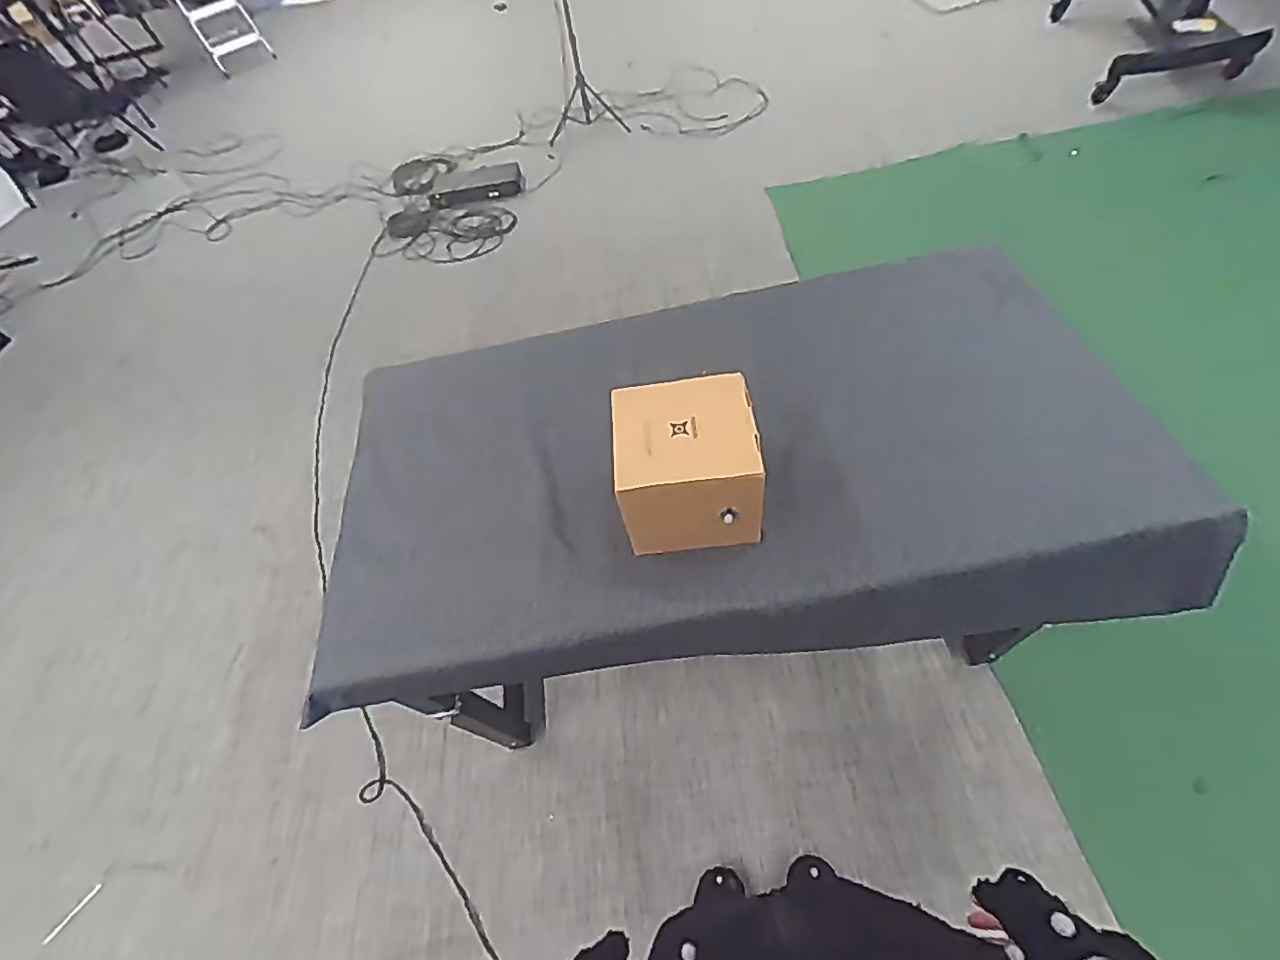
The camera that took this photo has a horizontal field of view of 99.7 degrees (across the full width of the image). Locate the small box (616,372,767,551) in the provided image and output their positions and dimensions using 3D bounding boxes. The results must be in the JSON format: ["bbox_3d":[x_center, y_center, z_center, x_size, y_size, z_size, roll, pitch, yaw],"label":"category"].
[{"bbox_3d":[0.068,-0.019,0.735,0.179,0.176,0.168,-8,54,6],"label":"small box"}]
